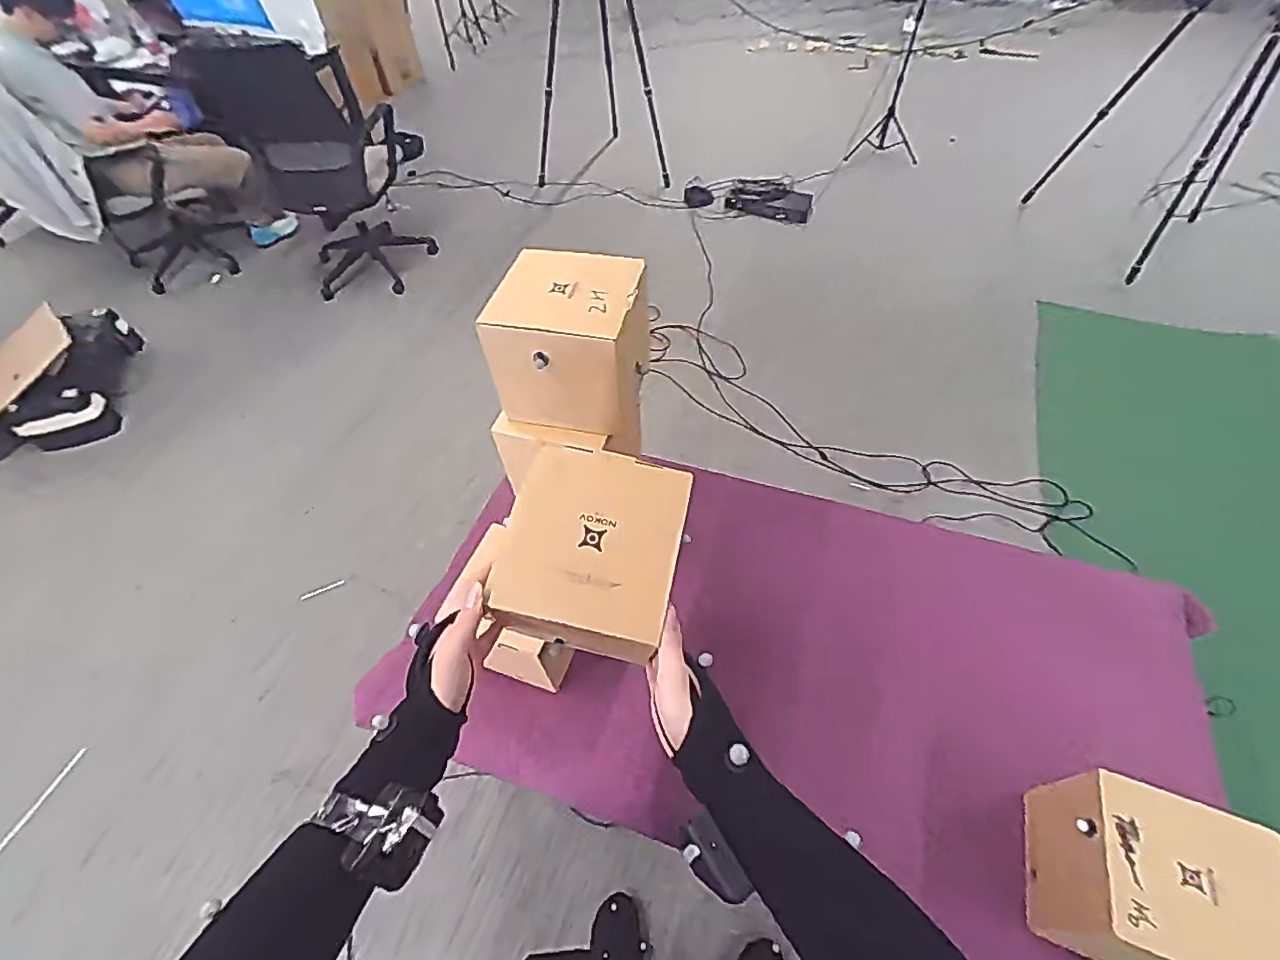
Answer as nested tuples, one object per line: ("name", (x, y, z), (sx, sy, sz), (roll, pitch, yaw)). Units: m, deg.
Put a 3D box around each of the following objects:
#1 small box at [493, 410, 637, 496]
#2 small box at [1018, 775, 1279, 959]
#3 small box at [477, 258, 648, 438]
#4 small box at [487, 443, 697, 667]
("small box", (-0.105, -0.060, 0.857), (0.168, 0.176, 0.179), (12, 54, 11))
("small box", (0.578, 0.474, 0.625), (0.179, 0.176, 0.168), (18, 54, 15))
("small box", (-0.091, -0.177, 0.738), (0.179, 0.176, 0.168), (10, 54, 9))
("small box", (-0.046, 0.089, 0.583), (0.168, 0.176, 0.179), (13, 66, 2))
